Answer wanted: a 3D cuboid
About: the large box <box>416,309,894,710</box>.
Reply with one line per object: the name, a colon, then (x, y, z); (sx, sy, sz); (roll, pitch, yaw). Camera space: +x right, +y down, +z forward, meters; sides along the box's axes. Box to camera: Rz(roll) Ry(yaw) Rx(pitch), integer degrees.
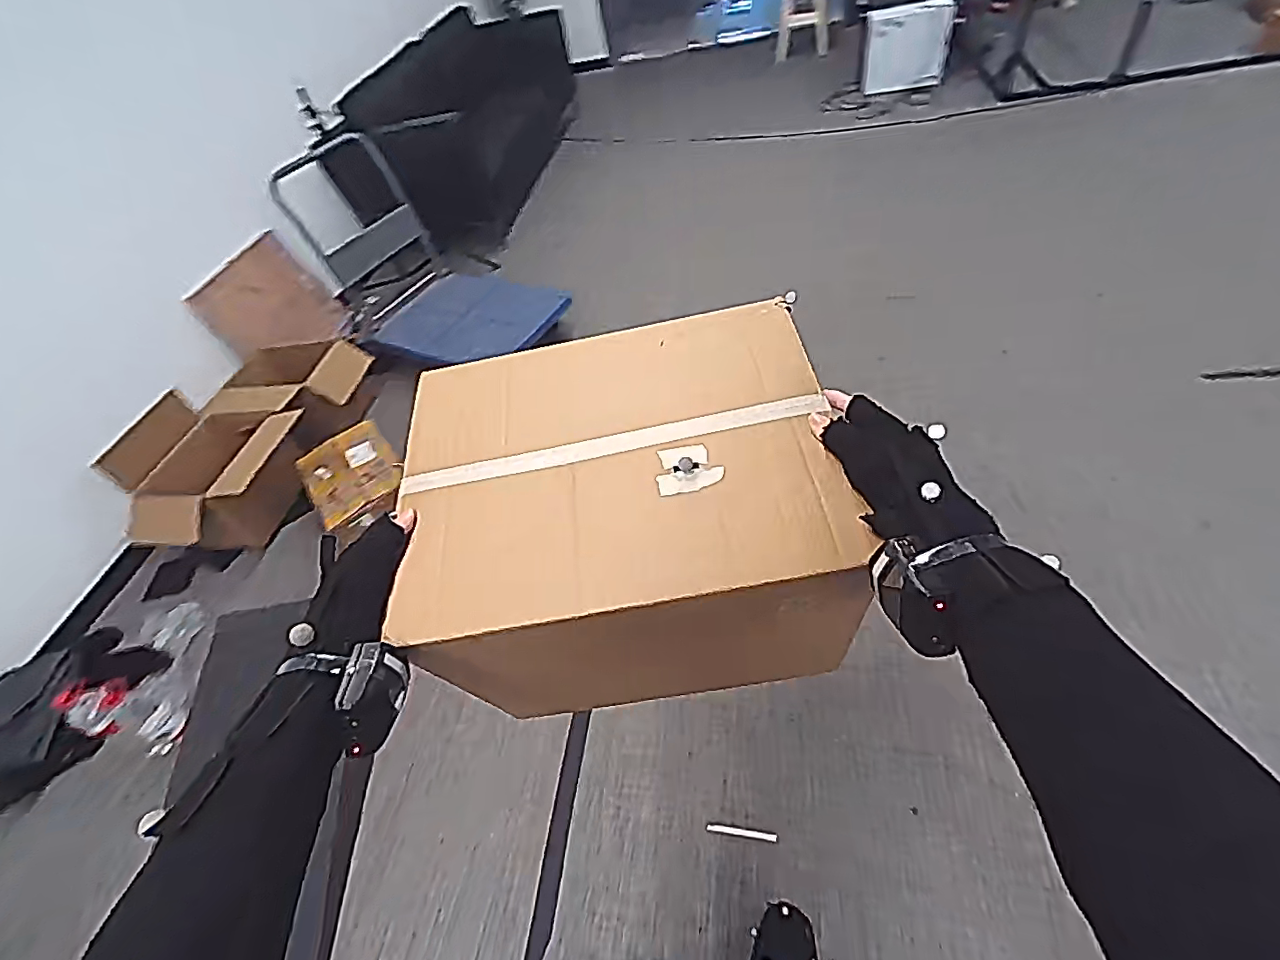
large box: (0.012, 0.054, 0.640); (0.408, 0.320, 0.320); (-10, 56, 4)
